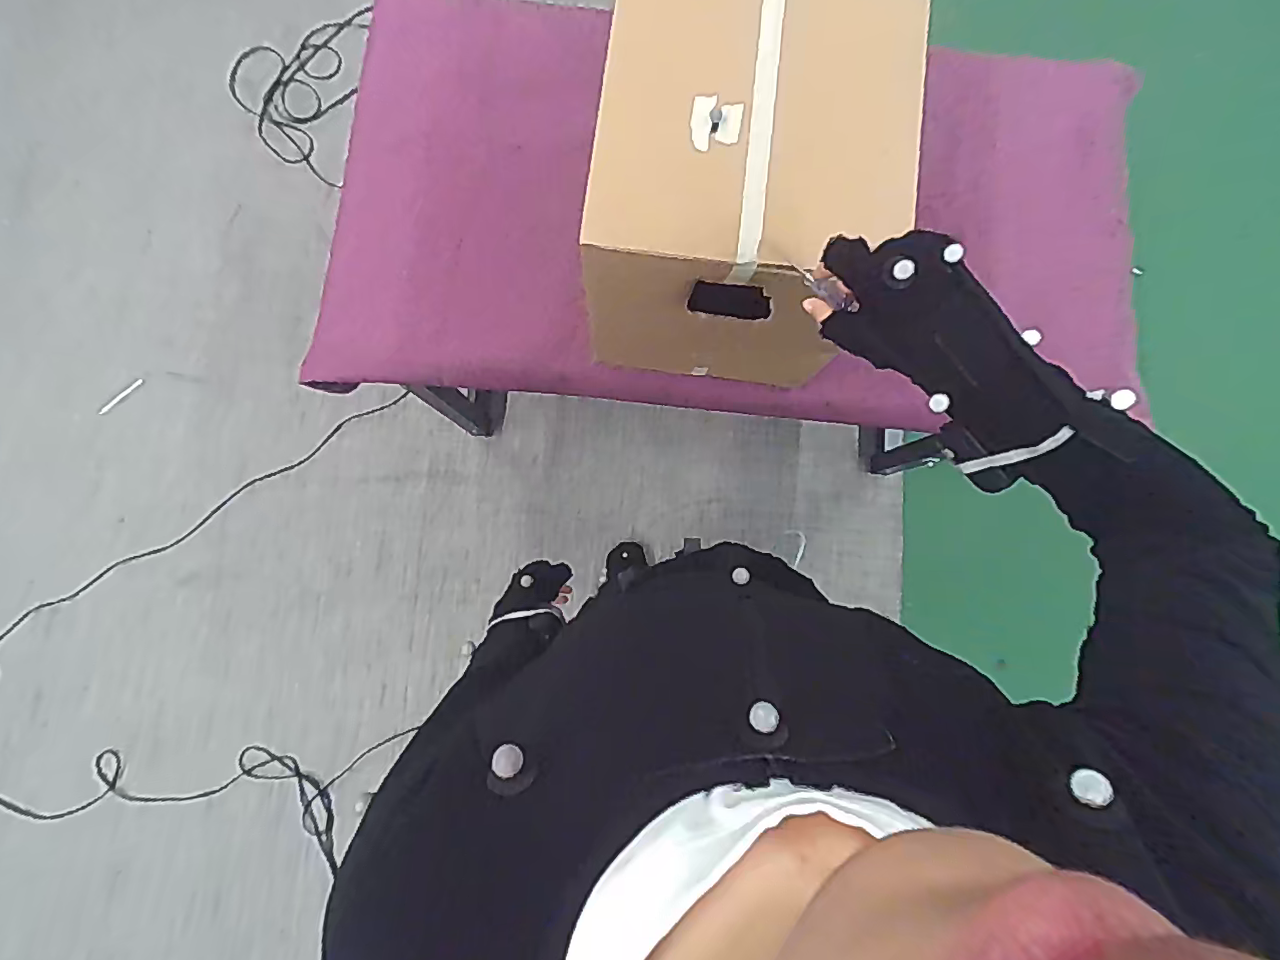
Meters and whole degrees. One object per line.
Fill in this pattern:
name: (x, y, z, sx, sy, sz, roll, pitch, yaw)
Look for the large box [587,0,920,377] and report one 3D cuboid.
large box: (0.116, -0.384, 0.687, 0.320, 0.320, 0.408, 8, 83, -1)
